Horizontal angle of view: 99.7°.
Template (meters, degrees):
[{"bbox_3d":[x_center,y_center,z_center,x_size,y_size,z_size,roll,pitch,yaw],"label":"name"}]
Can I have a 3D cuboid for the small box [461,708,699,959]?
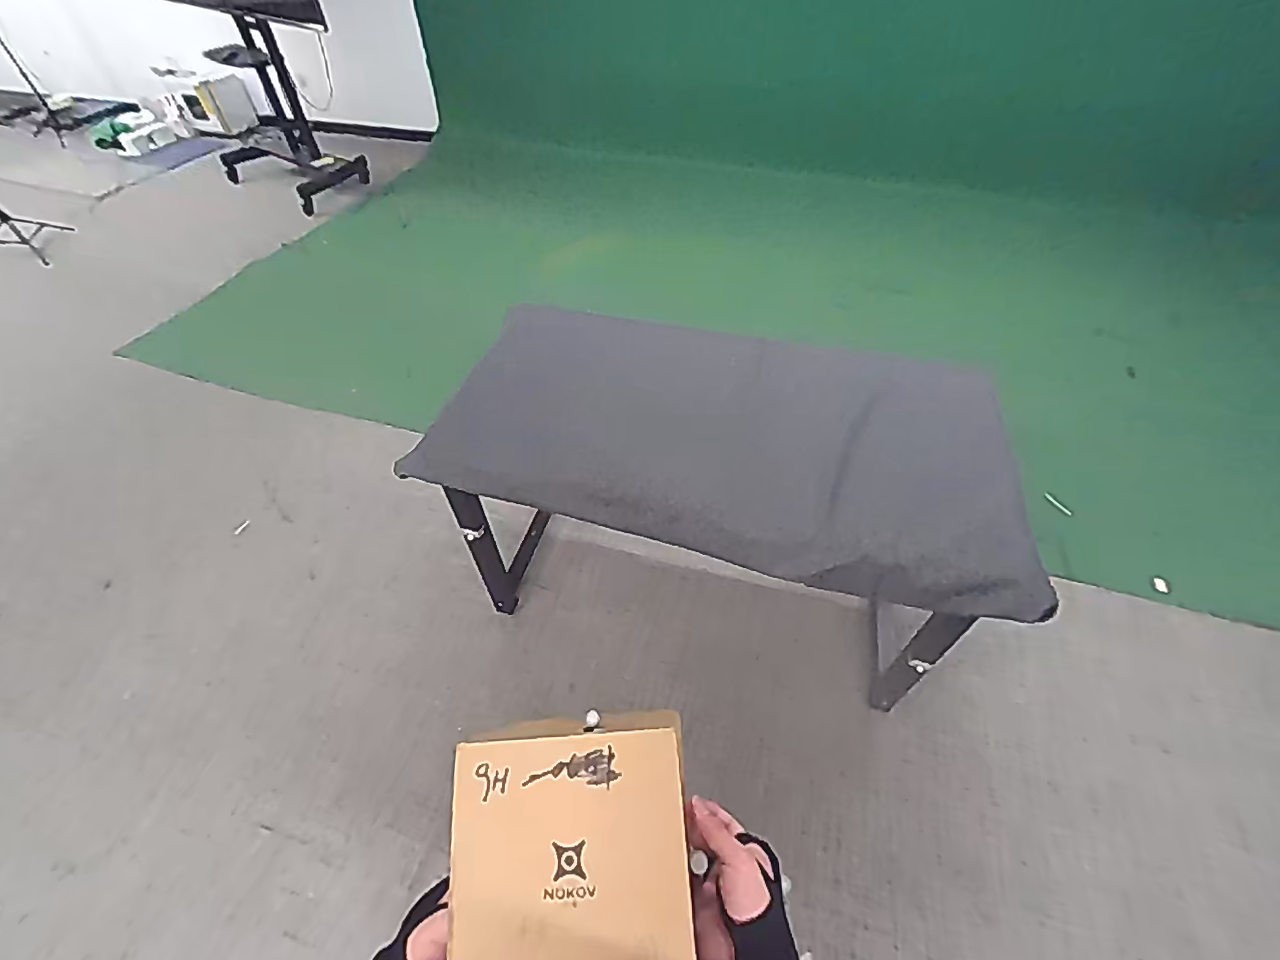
[{"bbox_3d":[-0.038,0.299,0.456,0.168,0.176,0.179,-5,72,2],"label":"small box"}]
